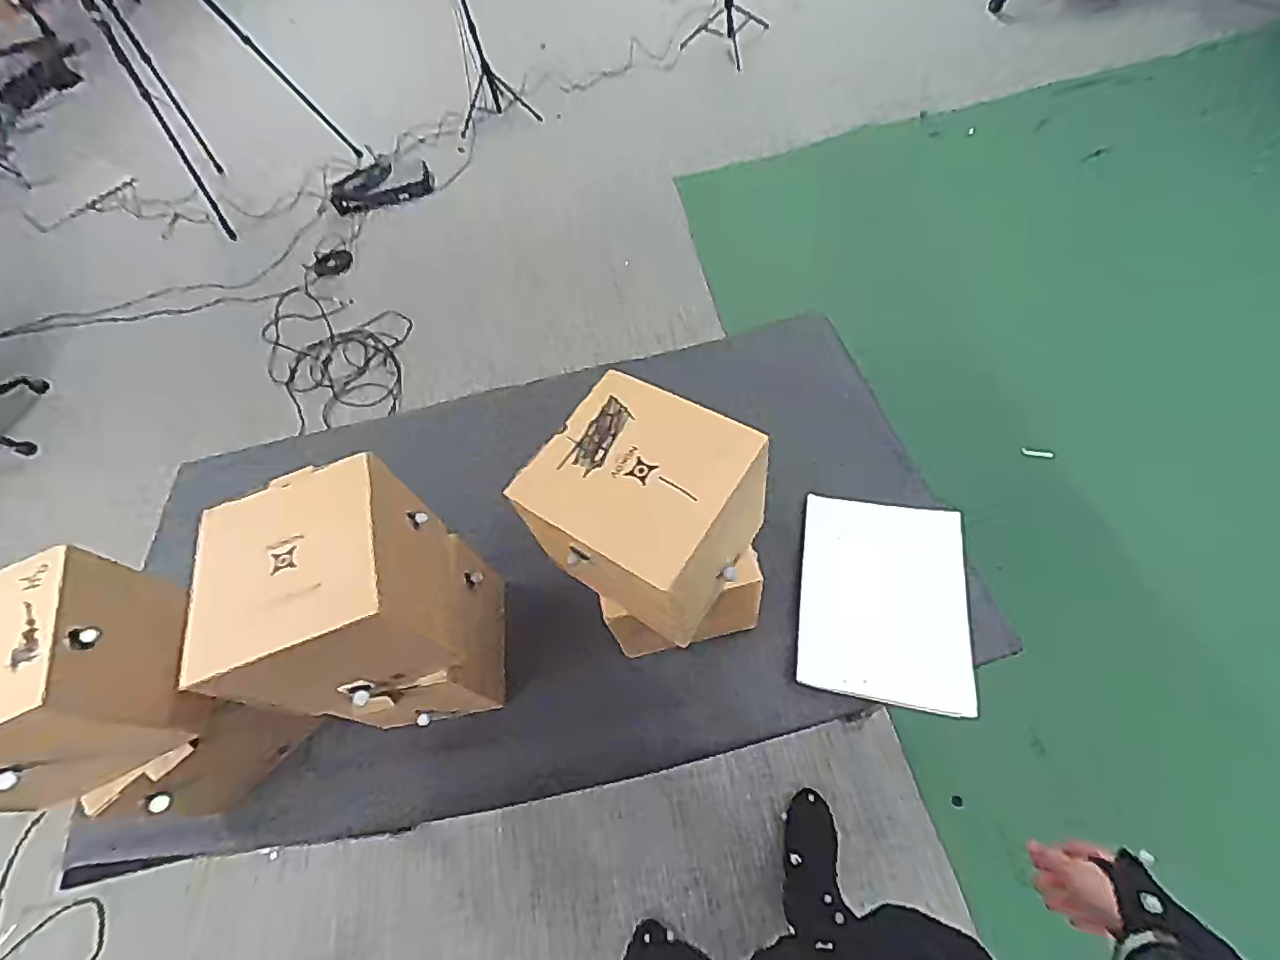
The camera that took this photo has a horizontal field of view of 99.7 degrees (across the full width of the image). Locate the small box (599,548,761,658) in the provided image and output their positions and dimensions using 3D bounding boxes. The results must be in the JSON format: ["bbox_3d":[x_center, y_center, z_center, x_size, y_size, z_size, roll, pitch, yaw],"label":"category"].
[{"bbox_3d":[0.041,0.108,0.681,0.179,0.176,0.168,-15,57,2],"label":"small box"}]

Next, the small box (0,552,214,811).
[{"bbox_3d":[-0.572,0.207,0.537,0.179,0.176,0.168,-27,58,-5],"label":"small box"}]

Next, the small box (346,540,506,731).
[{"bbox_3d":[-0.277,0.200,0.681,0.168,0.176,0.179,-12,57,4],"label":"small box"}]

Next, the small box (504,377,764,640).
[{"bbox_3d":[0.005,0.034,0.537,0.179,0.176,0.168,27,68,24],"label":"small box"}]

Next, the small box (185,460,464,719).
[{"bbox_3d":[-0.297,0.116,0.543,0.168,0.176,0.179,-22,58,-2],"label":"small box"}]
